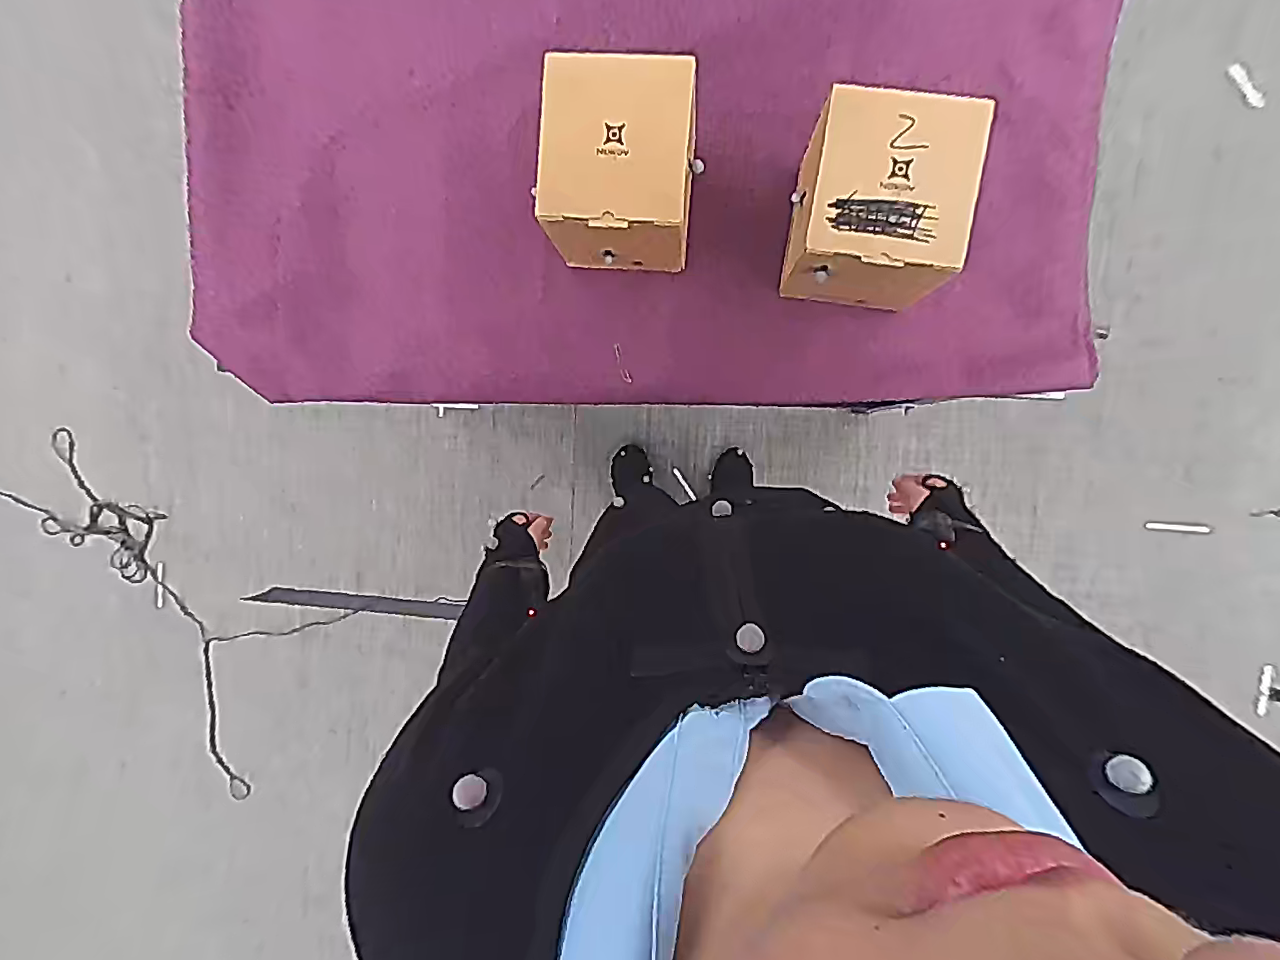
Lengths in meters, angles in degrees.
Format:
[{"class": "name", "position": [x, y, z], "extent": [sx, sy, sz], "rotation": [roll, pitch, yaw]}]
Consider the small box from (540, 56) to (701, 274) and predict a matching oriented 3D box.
[{"class": "small box", "position": [-0.018, -0.373, 0.667], "extent": [0.168, 0.176, 0.179], "rotation": [5, 95, 4]}]
